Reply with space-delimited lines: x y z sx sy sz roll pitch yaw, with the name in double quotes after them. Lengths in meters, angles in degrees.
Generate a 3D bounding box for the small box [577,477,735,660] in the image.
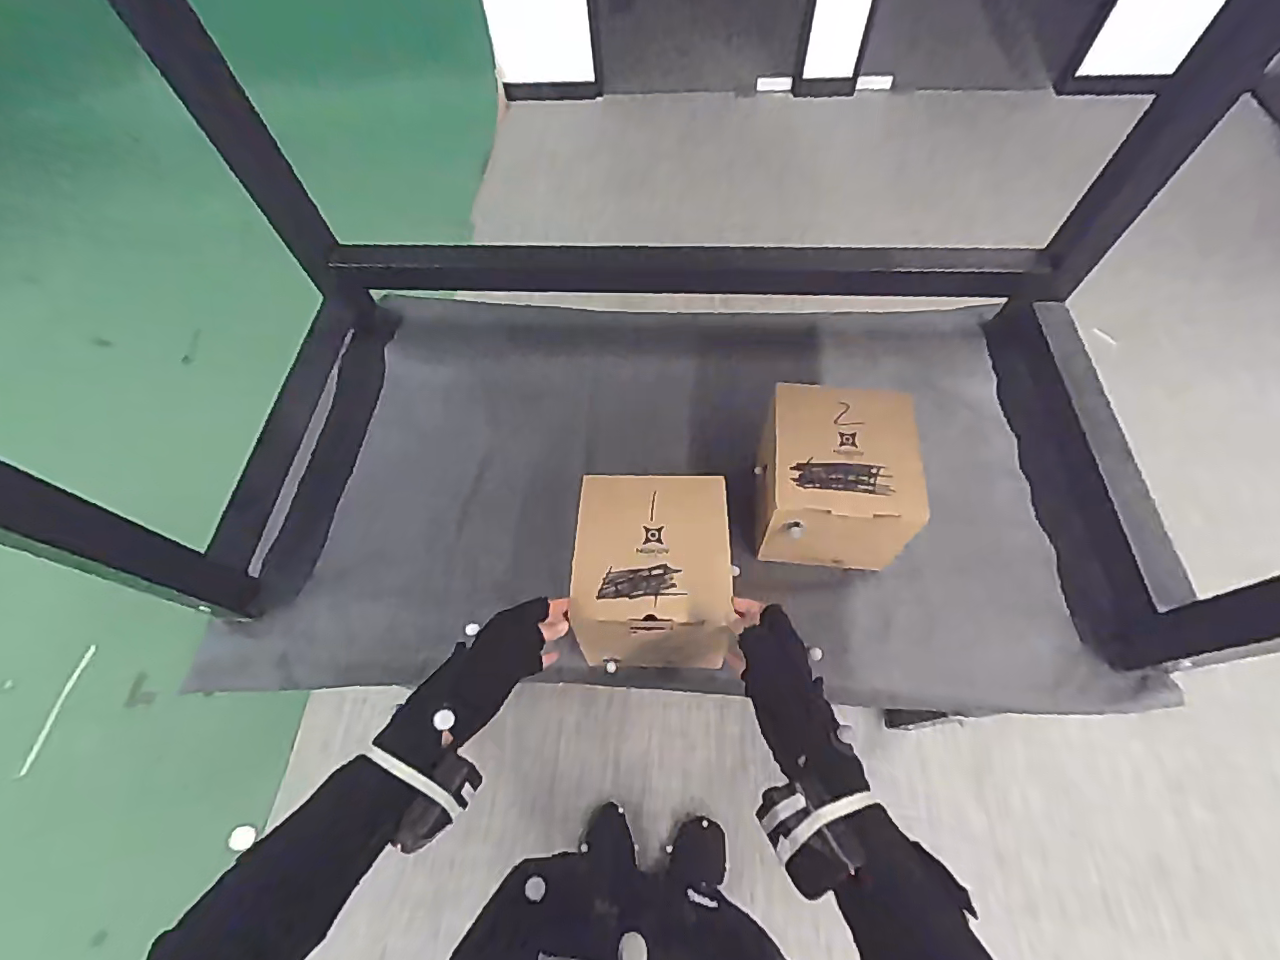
0.024 0.113 0.659 0.168 0.176 0.179 0 57 3 "small box"
